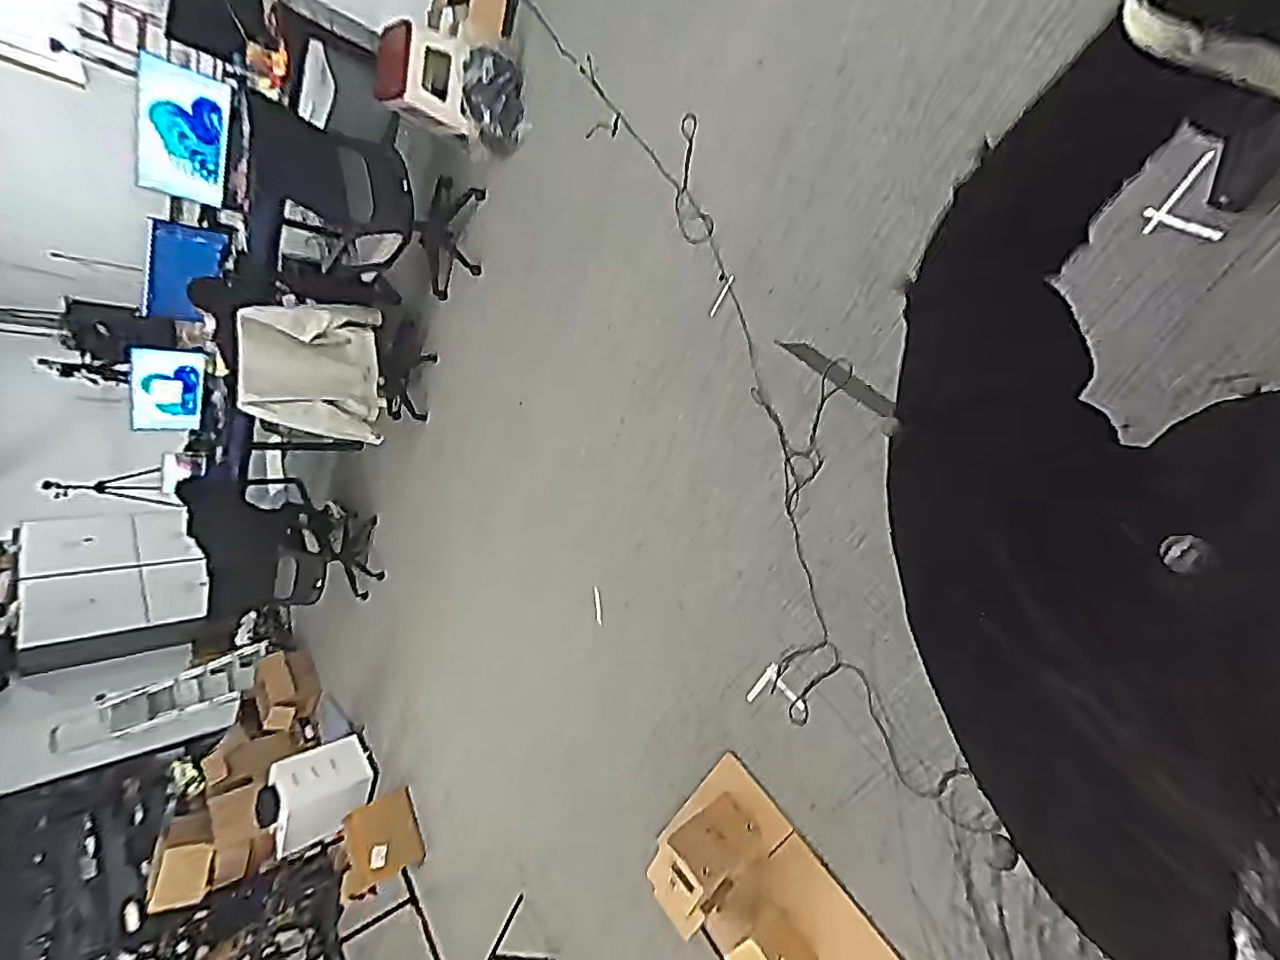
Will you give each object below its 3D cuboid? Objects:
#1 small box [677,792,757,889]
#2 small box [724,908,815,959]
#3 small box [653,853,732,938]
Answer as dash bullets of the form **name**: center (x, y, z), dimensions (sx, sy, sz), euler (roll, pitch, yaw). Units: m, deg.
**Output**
- **small box**: center (0.260, 1.177, 1.780), dimensions (0.168, 0.176, 0.179), euler (40, 118, 34)
- **small box**: center (0.401, 1.471, 1.667), dimensions (0.179, 0.176, 0.168), euler (47, 122, 29)
- **small box**: center (0.182, 1.409, 1.870), dimensions (0.179, 0.176, 0.168), euler (39, 119, 33)
